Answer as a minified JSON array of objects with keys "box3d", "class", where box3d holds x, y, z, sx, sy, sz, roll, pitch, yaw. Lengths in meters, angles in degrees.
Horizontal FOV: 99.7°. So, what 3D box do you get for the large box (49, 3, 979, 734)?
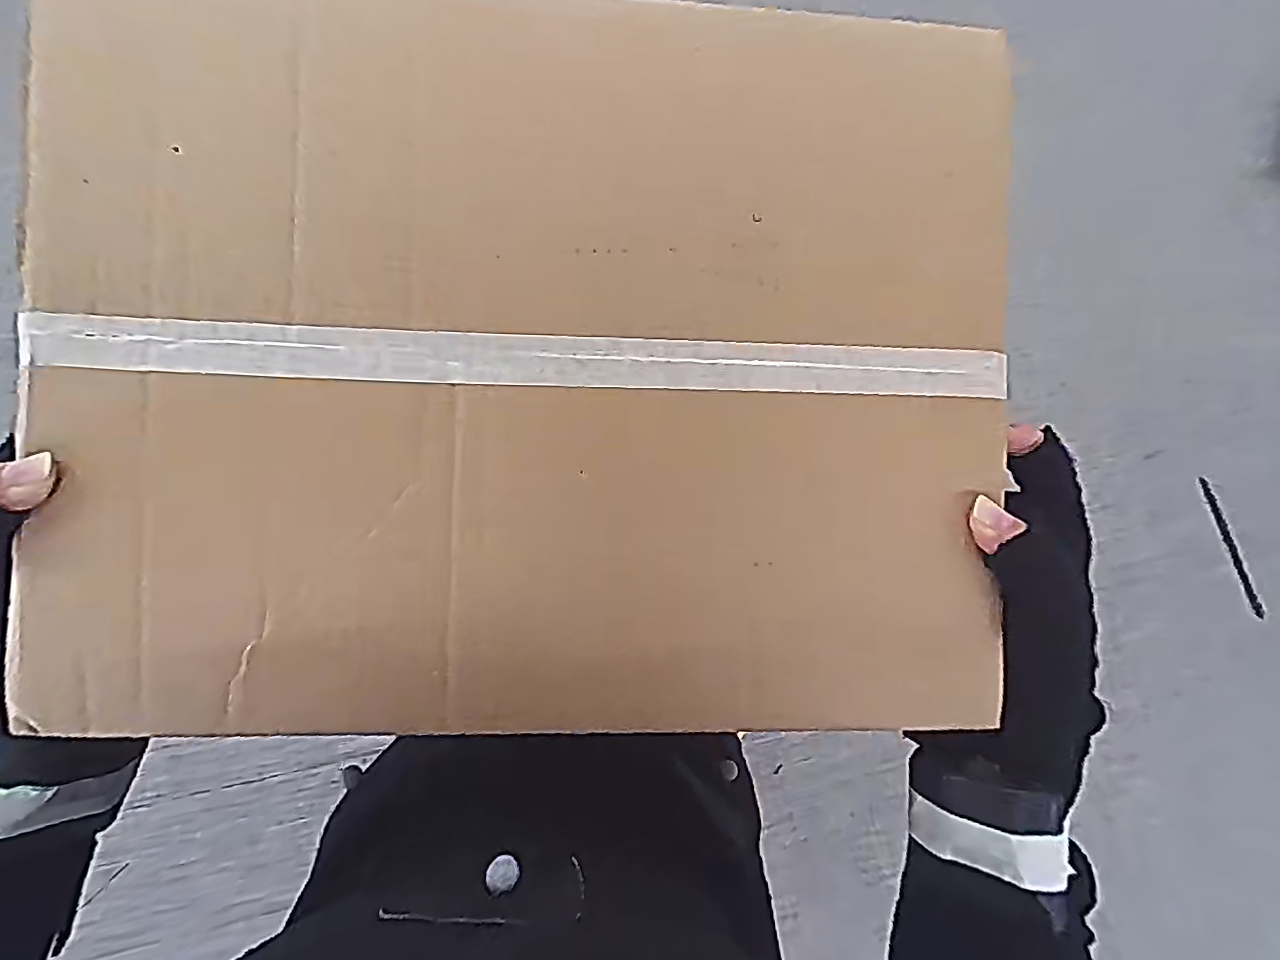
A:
[{"box3d":[-0.051,-0.046,0.387,0.408,0.320,0.320,1,89,-4],"class":"large box"}]
